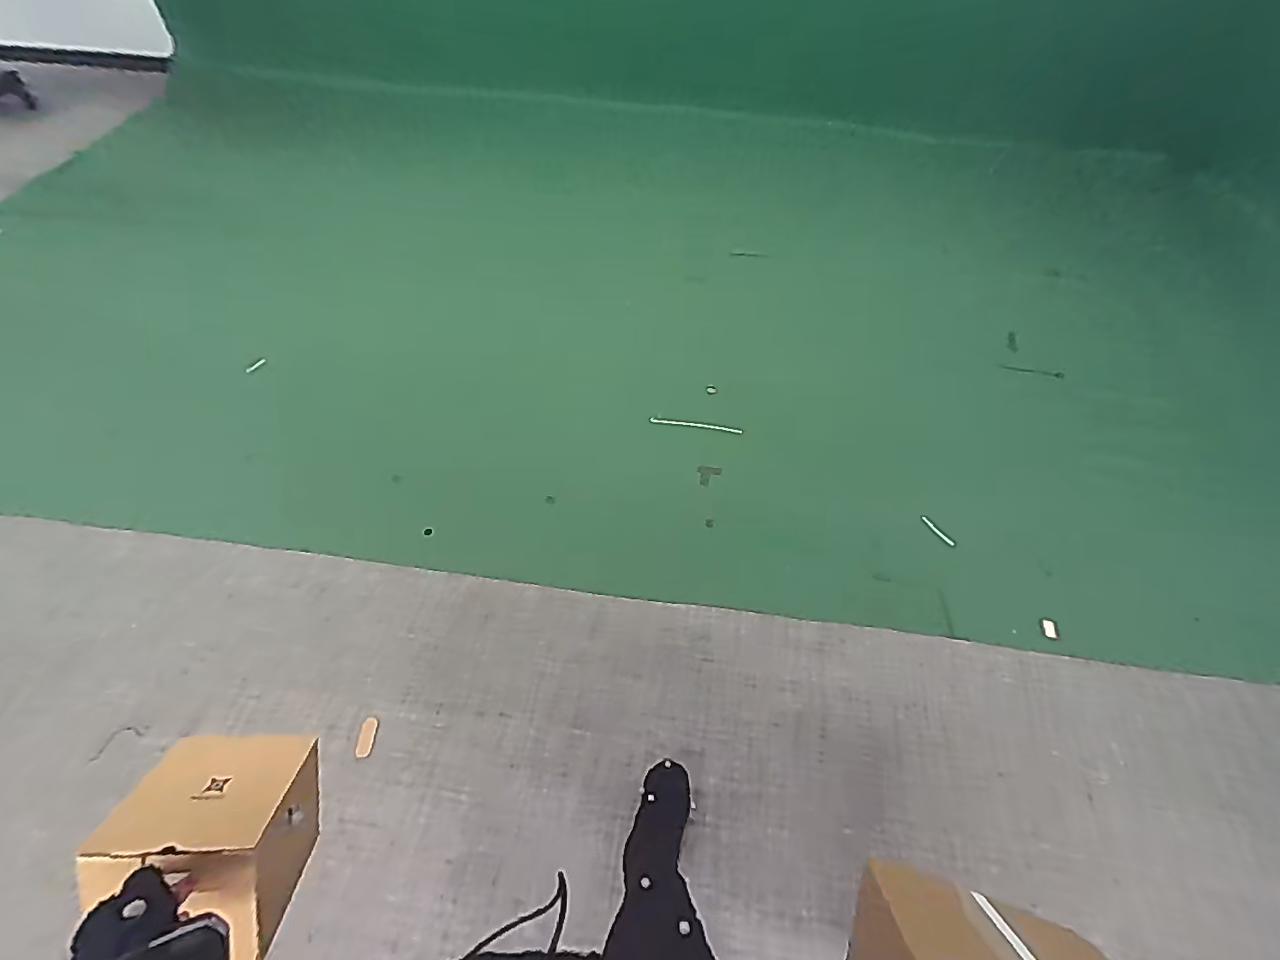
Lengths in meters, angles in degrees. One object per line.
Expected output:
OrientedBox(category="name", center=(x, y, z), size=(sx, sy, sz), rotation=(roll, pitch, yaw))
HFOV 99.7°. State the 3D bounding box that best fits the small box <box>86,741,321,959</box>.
OrientedBox(category="small box", center=(-0.515, 0.452, 0.665), size=(0.168, 0.176, 0.179), rotation=(5, 14, -12))
